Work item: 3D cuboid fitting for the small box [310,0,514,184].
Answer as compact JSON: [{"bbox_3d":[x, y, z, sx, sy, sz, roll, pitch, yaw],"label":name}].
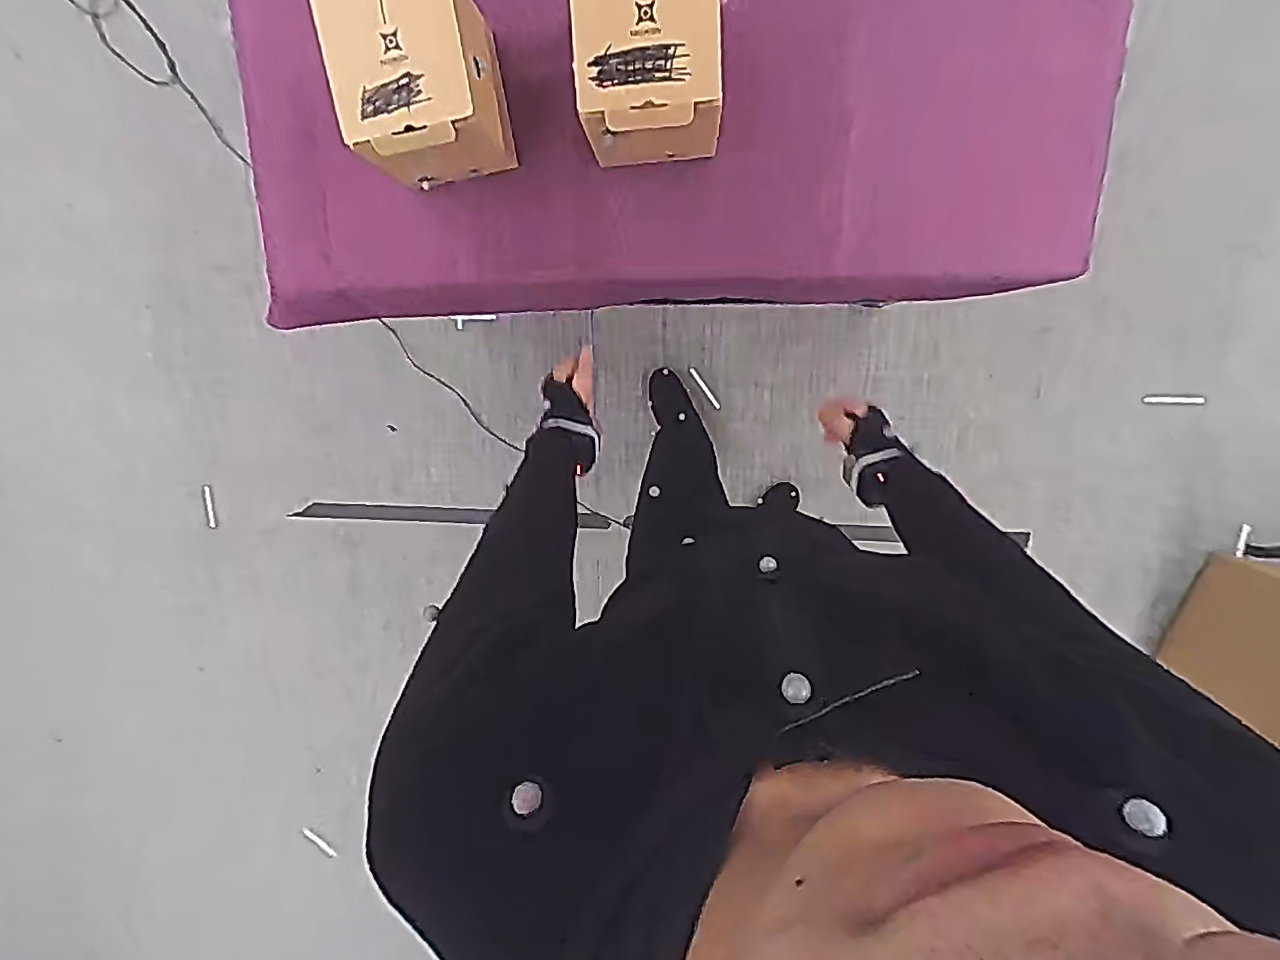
[{"bbox_3d":[-0.275,-0.503,0.694,0.168,0.176,0.179,-9,101,6],"label":"small box"}]
